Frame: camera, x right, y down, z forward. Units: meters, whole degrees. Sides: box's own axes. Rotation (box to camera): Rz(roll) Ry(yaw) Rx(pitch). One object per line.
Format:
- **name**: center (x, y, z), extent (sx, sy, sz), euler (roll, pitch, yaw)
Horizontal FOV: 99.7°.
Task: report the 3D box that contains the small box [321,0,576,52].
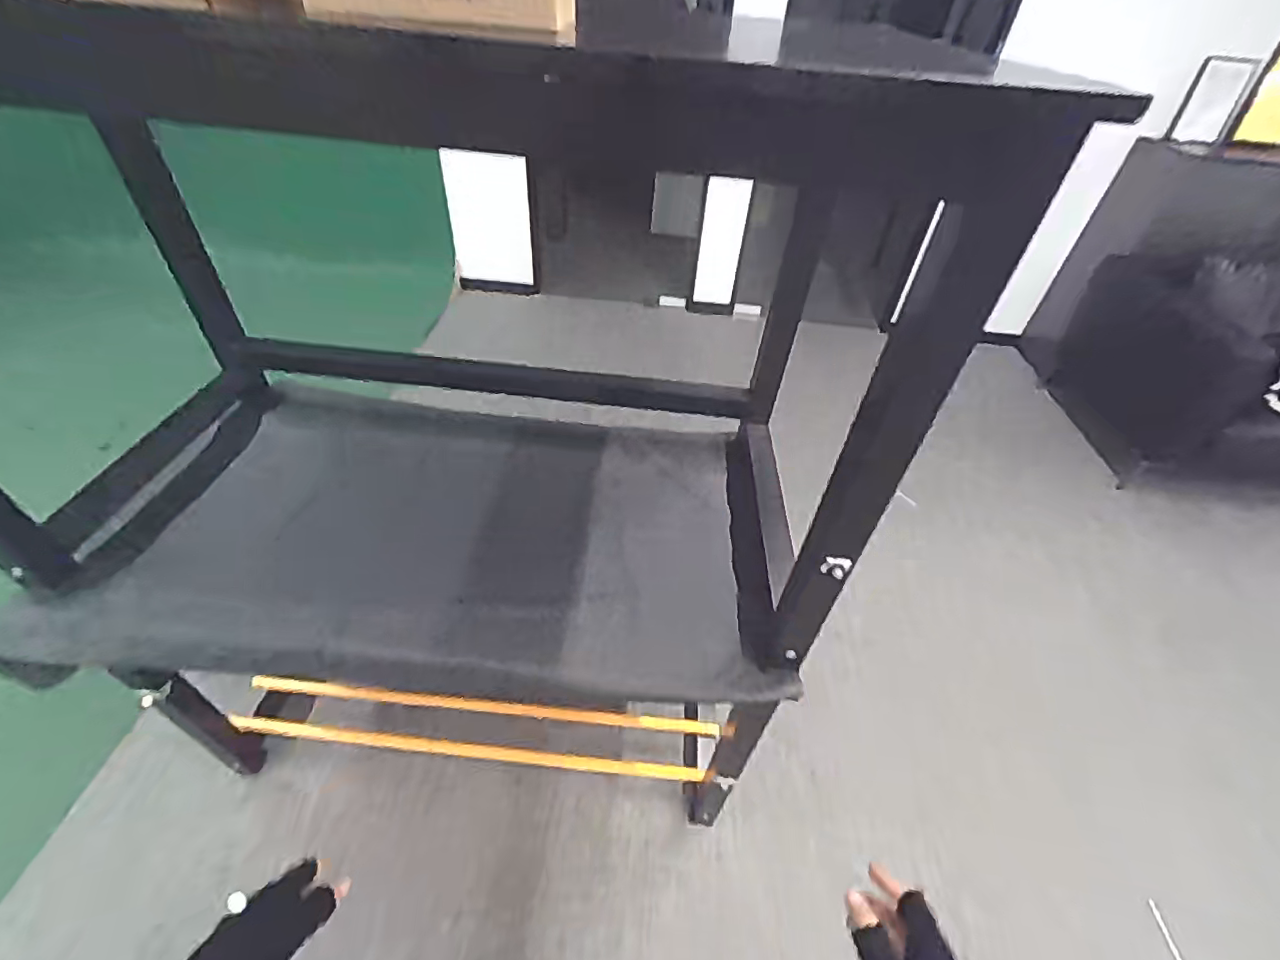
- **small box**: center (-0.132, -0.416, 0.372), extent (0.168, 0.176, 0.179), euler (1, 44, -3)
